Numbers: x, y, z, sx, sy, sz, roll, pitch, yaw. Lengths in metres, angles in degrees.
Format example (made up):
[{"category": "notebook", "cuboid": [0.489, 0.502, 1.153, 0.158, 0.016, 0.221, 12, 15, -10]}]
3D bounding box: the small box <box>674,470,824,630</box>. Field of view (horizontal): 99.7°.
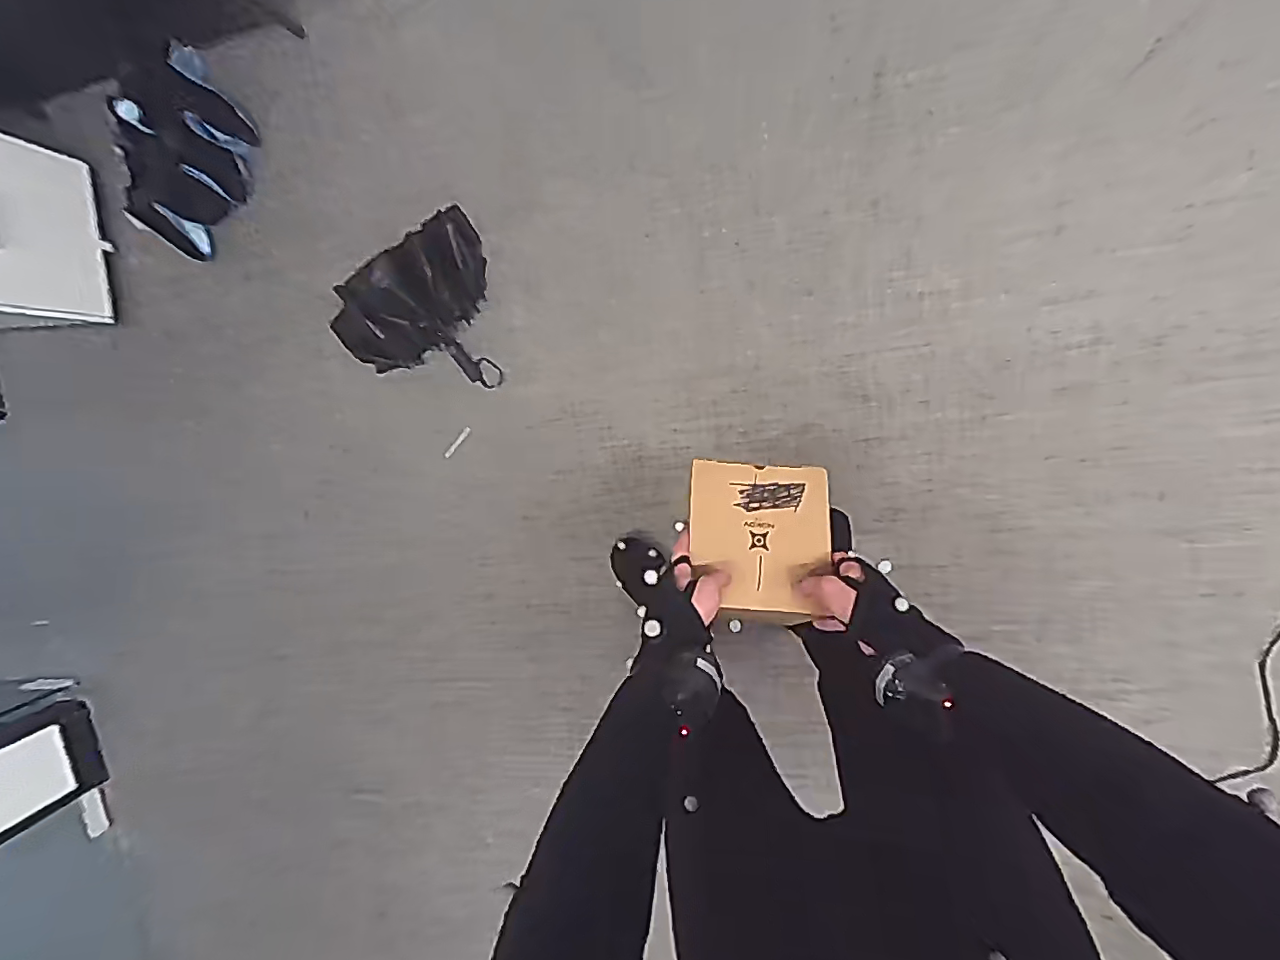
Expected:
[{"category": "small box", "cuboid": [0.134, 0.100, 0.718, 0.168, 0.176, 0.179, 3, 72, 1]}]
